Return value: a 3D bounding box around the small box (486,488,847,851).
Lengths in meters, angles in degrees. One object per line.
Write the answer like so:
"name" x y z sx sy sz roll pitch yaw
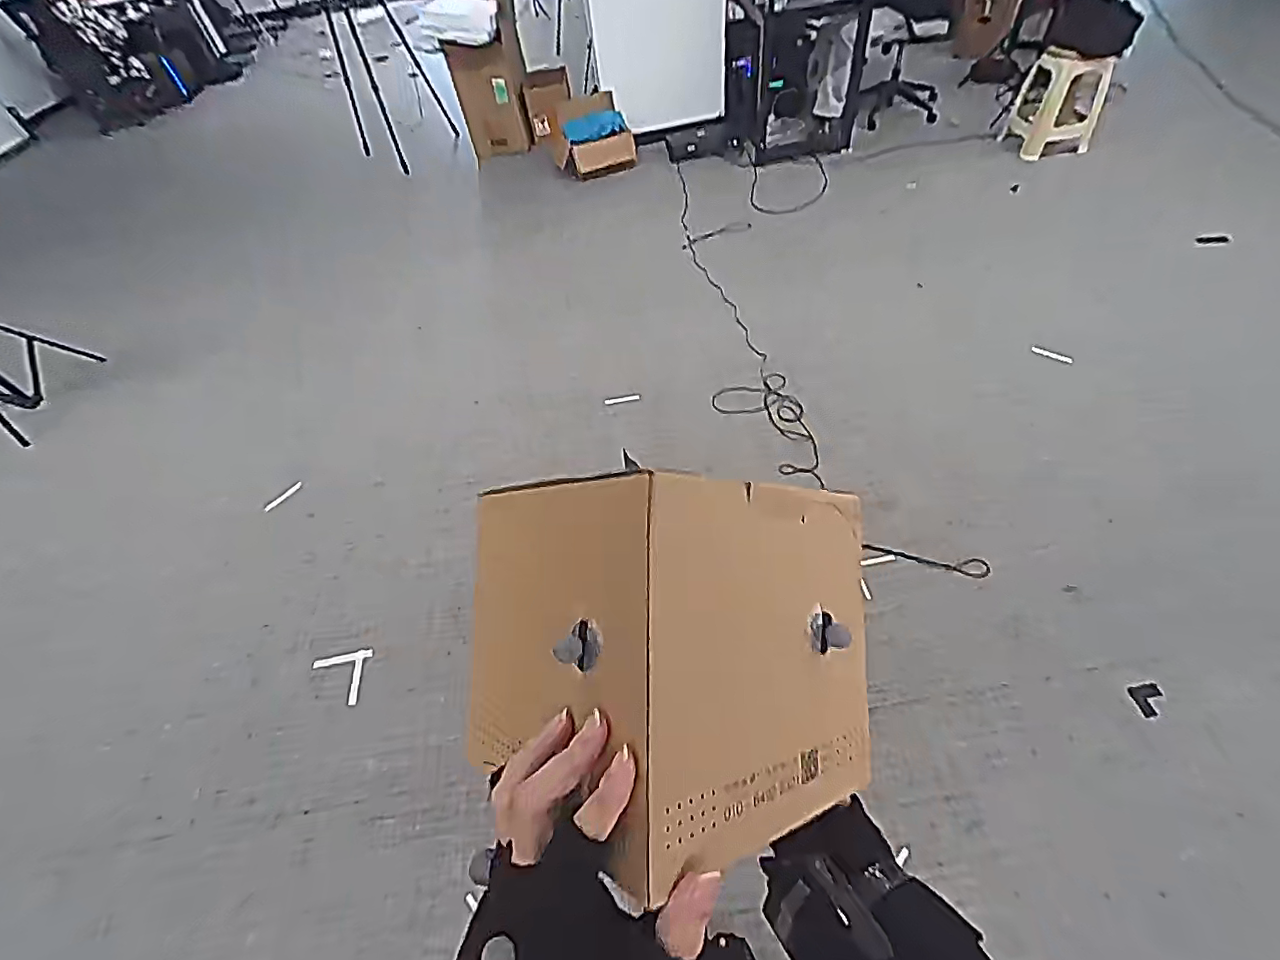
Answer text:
"small box" 0.014 0.099 0.345 0.179 0.168 0.176 -8 78 50
